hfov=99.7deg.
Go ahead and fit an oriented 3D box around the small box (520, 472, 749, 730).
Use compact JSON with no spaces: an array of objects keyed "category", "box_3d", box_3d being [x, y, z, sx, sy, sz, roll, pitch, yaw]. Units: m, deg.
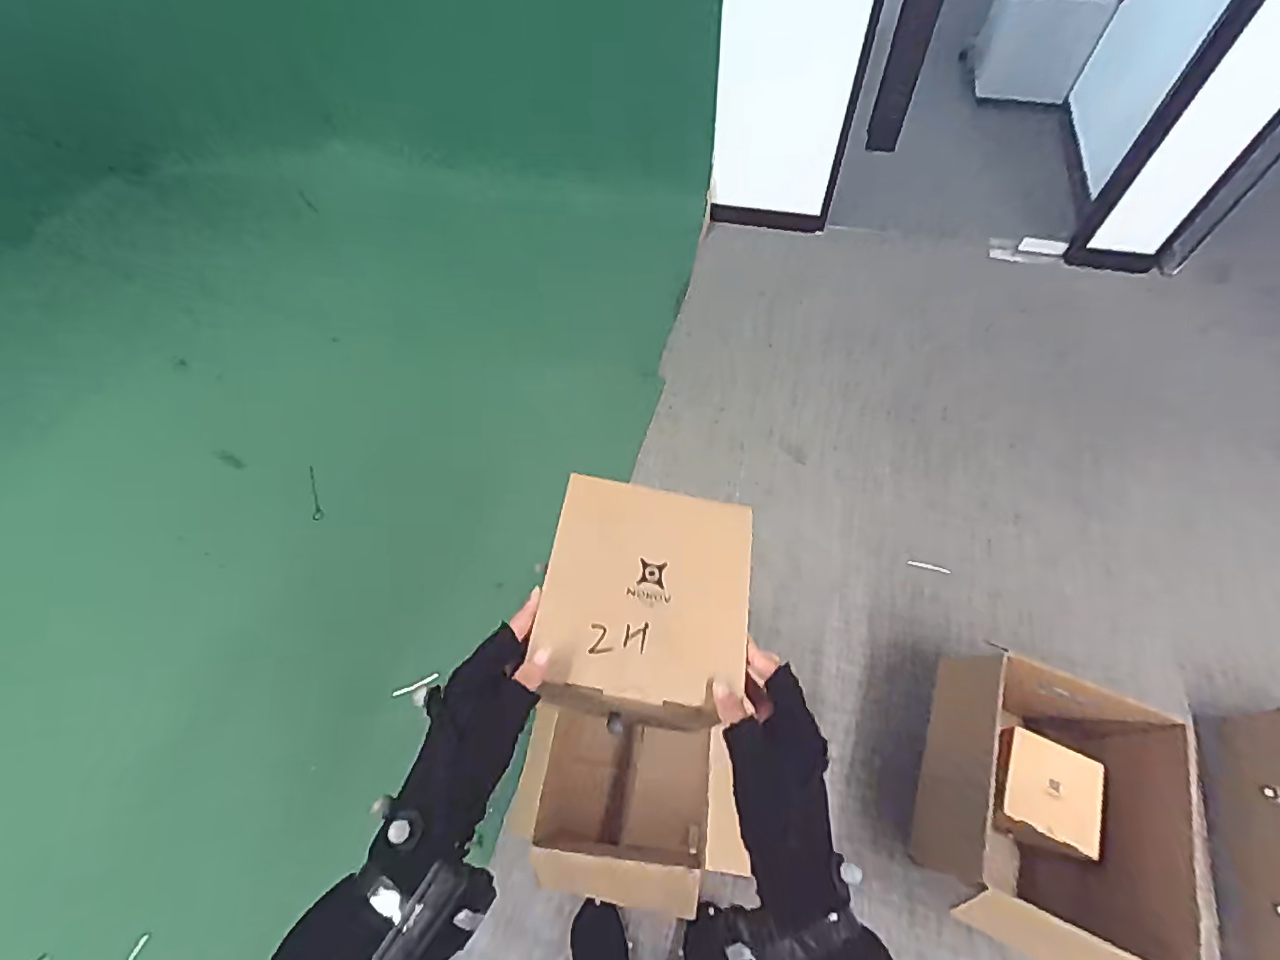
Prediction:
[{"category":"small box","box_3d":[-0.006,0.120,0.501,0.168,0.176,0.179,11,61,-2]}]
